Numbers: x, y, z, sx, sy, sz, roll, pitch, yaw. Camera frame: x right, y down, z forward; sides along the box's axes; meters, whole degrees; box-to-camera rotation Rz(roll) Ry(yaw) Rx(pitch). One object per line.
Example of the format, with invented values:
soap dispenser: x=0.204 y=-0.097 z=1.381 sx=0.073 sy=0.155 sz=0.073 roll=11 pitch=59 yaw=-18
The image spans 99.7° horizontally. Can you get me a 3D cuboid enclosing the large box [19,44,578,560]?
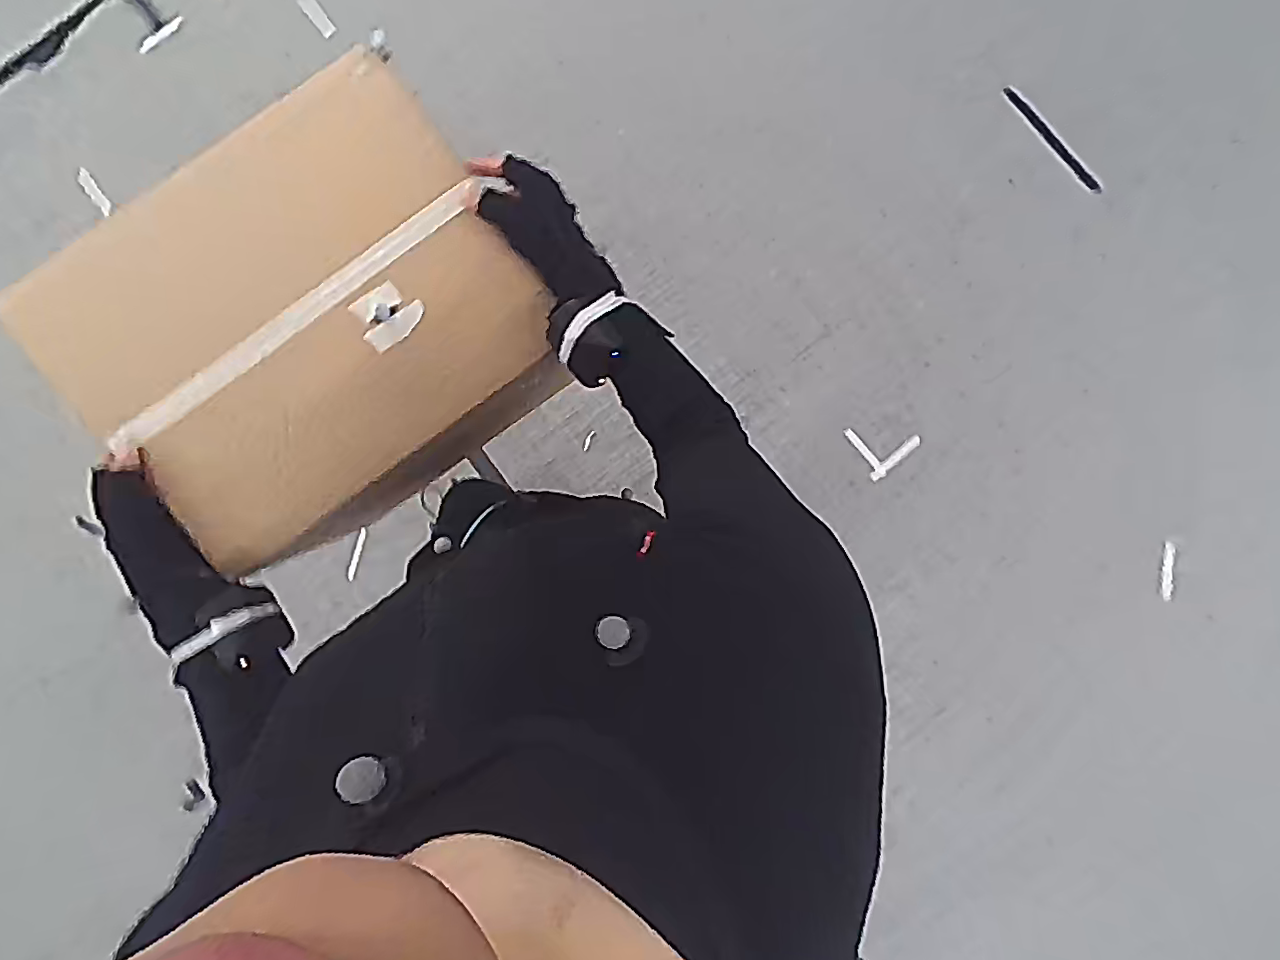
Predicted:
large box: x=-0.321 y=-0.169 z=0.649 sx=0.408 sy=0.320 sz=0.320 roll=-36 pitch=98 yaw=-3
